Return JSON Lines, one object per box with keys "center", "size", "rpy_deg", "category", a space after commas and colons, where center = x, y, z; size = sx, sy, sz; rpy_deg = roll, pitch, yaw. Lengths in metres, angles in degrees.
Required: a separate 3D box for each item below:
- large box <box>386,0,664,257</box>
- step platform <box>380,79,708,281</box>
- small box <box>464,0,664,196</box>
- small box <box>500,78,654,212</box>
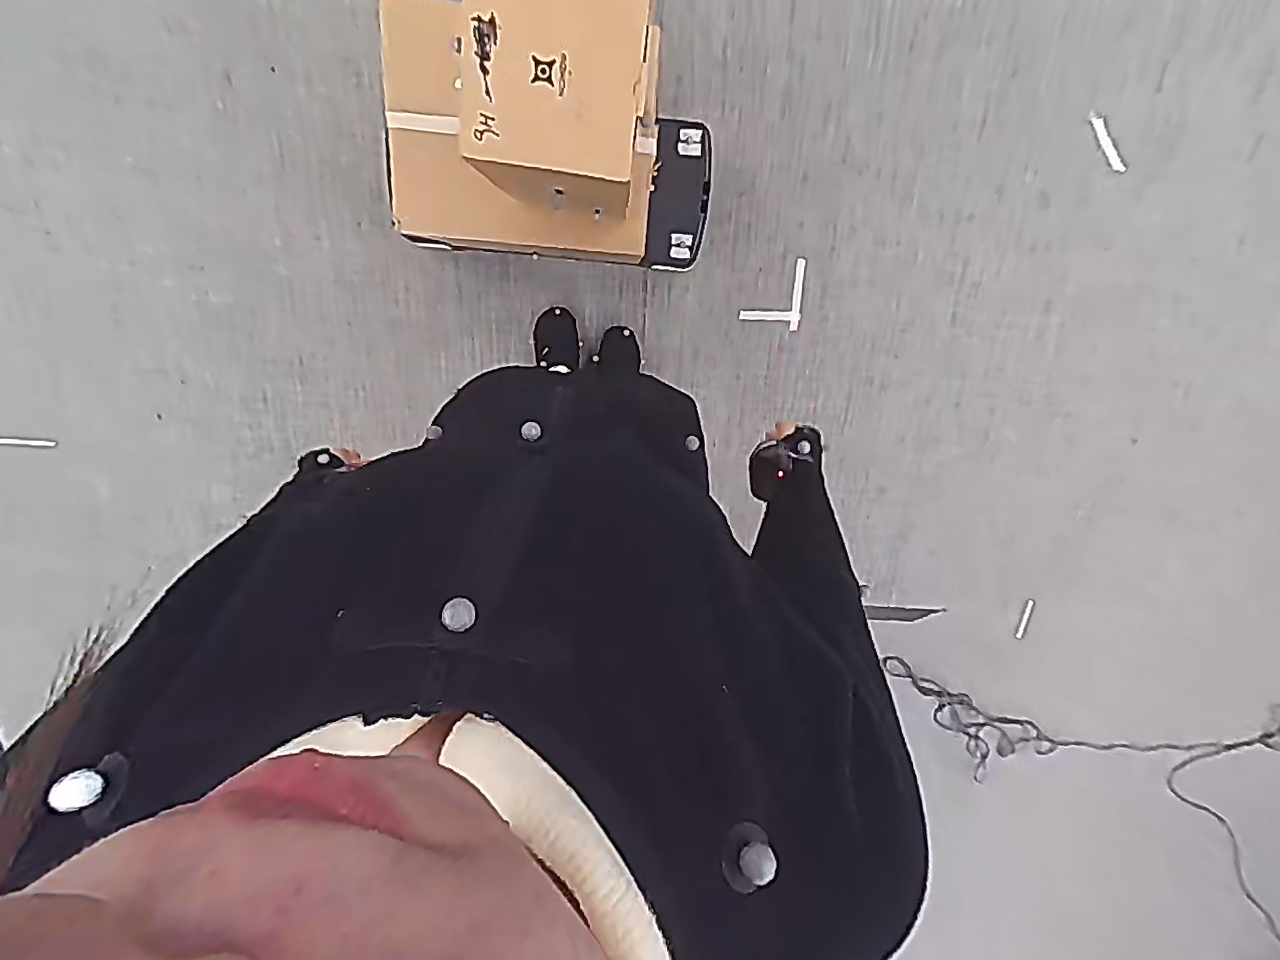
{"center": [-0.172, -0.577, 0.957], "size": [0.408, 0.320, 0.320], "rpy_deg": [4, 109, -2], "category": "large box"}
{"center": [-0.197, -0.643, 1.185], "size": [0.684, 0.204, 0.286], "rpy_deg": [9, 109, -4], "category": "step platform"}
{"center": [-0.078, -0.418, 0.582], "size": [0.179, 0.176, 0.168], "rpy_deg": [7, 108, -5], "category": "small box"}
{"center": [-0.081, -0.474, 0.737], "size": [0.179, 0.176, 0.168], "rpy_deg": [8, 109, -4], "category": "small box"}
